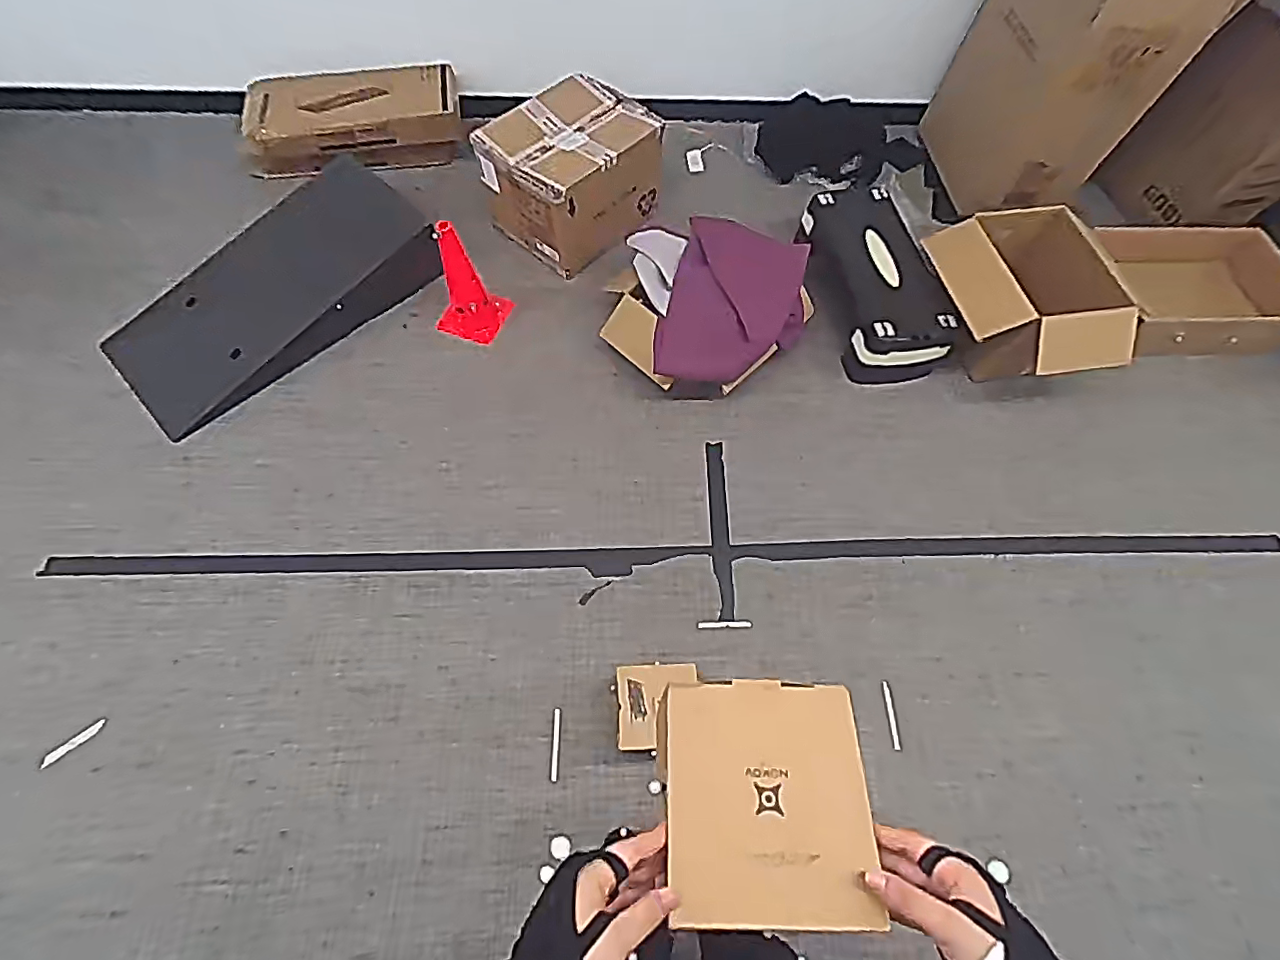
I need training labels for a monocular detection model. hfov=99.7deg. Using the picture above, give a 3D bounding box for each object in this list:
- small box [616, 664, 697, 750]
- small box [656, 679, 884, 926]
[{"bbox_3d":[0.037,0.513,1.215,0.179,0.176,0.168,-2,65,-3],"label":"small box"},{"bbox_3d":[0.101,0.300,0.513,0.168,0.176,0.179,1,57,0],"label":"small box"}]
